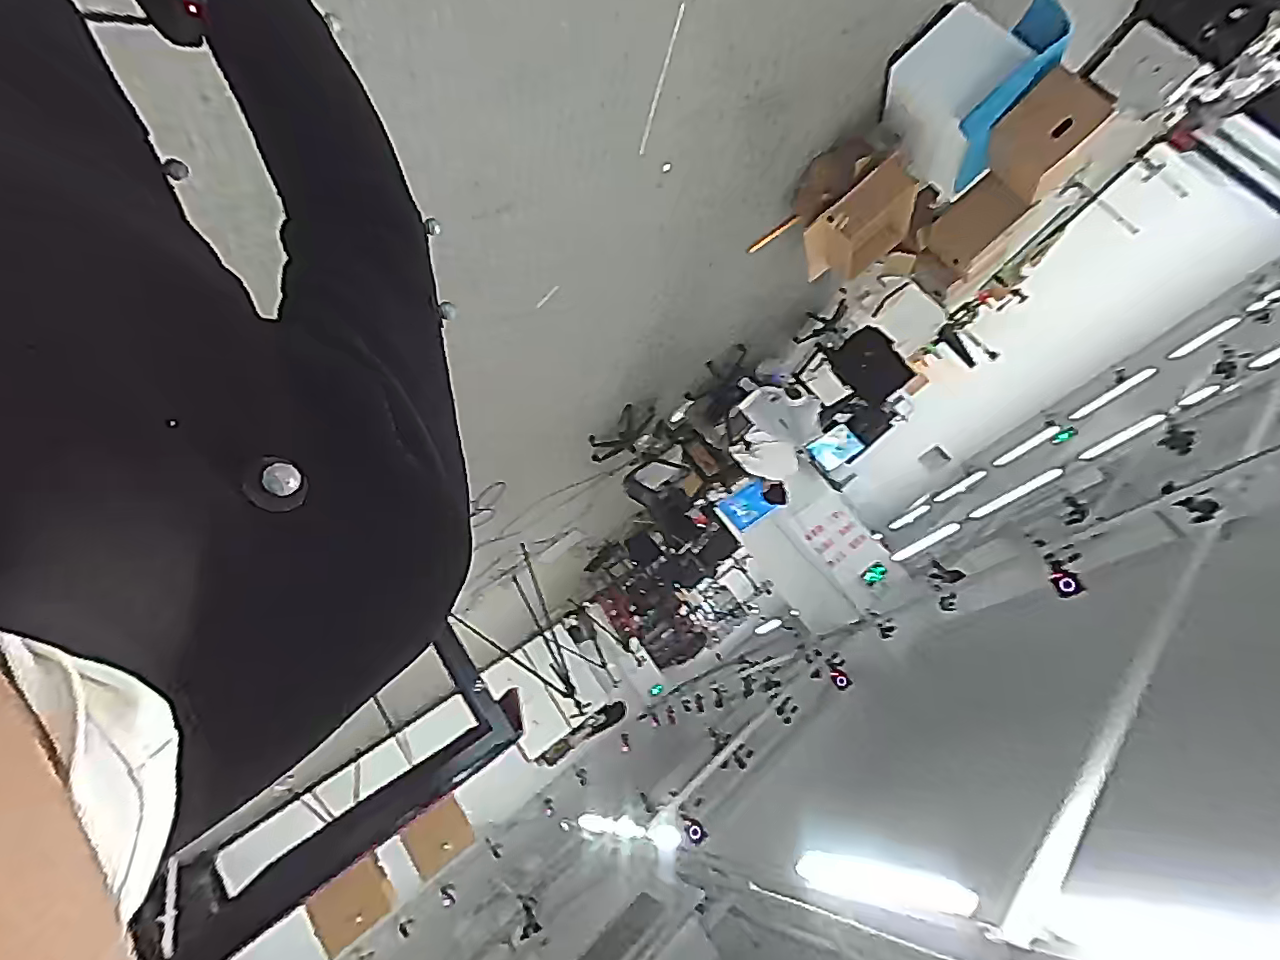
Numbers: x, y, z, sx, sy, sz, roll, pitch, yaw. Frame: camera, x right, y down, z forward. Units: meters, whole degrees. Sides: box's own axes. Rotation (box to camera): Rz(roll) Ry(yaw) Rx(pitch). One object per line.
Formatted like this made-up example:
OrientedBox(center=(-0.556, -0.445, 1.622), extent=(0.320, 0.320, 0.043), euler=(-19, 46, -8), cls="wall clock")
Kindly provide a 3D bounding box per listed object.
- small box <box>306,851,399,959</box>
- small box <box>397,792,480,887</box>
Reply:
OrientedBox(center=(-0.801, 1.181, 1.505), extent=(0.179, 0.176, 0.168), euler=(-31, 165, -29), cls="small box")
OrientedBox(center=(-0.609, 1.075, 1.633), extent=(0.179, 0.176, 0.168), euler=(-28, 163, -32), cls="small box")
